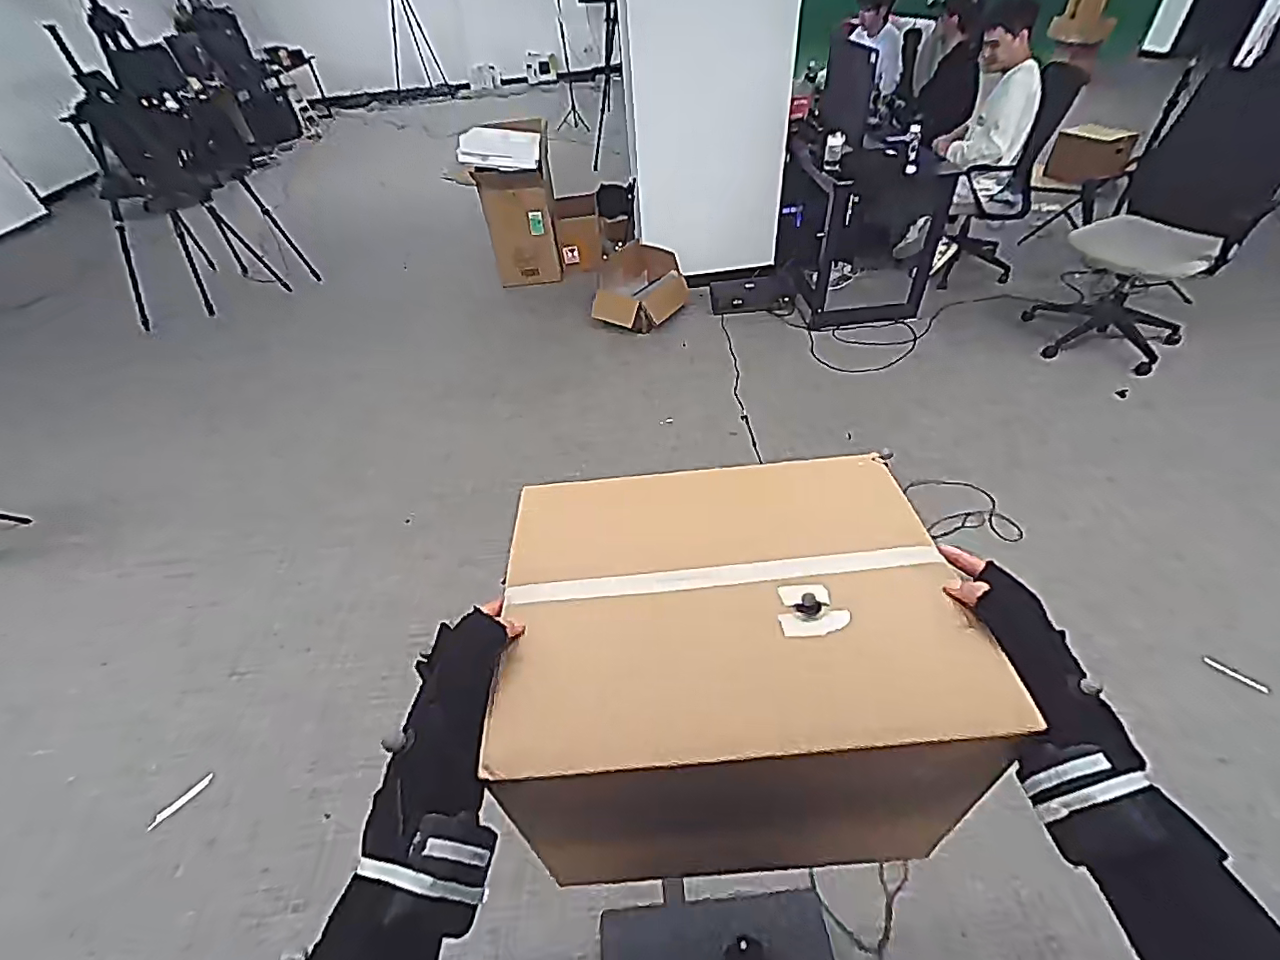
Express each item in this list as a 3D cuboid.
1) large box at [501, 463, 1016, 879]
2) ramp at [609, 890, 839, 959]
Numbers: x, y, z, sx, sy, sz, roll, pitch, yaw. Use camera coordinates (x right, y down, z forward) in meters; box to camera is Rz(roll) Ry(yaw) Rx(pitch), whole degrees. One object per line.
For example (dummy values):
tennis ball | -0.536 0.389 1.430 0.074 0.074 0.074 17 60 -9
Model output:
large box | 0.090 0.211 0.614 0.408 0.320 0.320 -5 42 1
ramp | 0.200 1.241 0.820 0.509 0.206 0.991 -9 44 0
